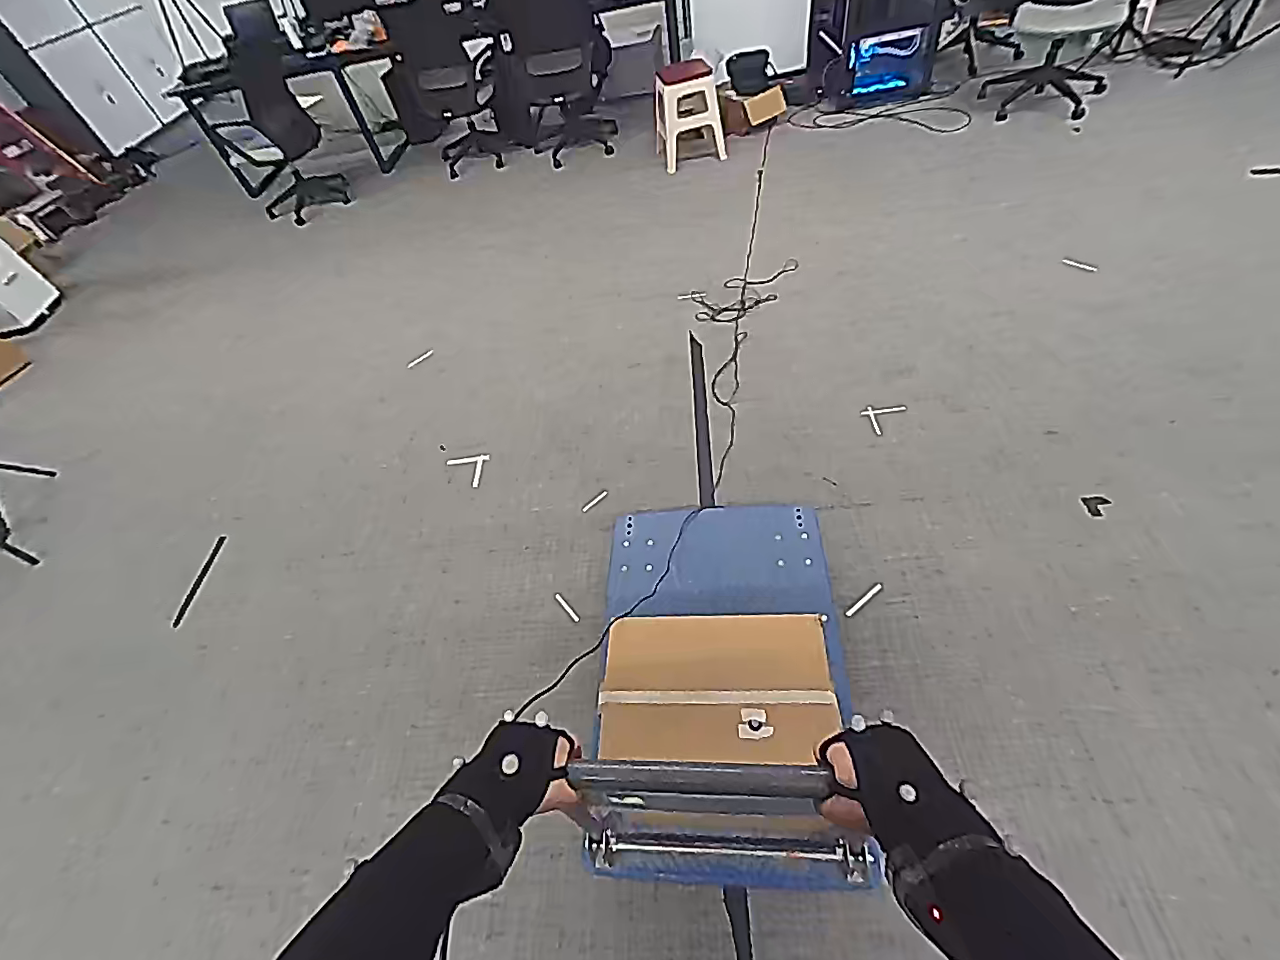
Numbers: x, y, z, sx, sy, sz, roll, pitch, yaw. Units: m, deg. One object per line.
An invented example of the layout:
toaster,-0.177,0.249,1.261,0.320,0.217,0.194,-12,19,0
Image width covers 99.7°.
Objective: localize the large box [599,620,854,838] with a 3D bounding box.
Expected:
large box,0.155,0.485,1.044,0.408,0.320,0.320,-3,51,9
